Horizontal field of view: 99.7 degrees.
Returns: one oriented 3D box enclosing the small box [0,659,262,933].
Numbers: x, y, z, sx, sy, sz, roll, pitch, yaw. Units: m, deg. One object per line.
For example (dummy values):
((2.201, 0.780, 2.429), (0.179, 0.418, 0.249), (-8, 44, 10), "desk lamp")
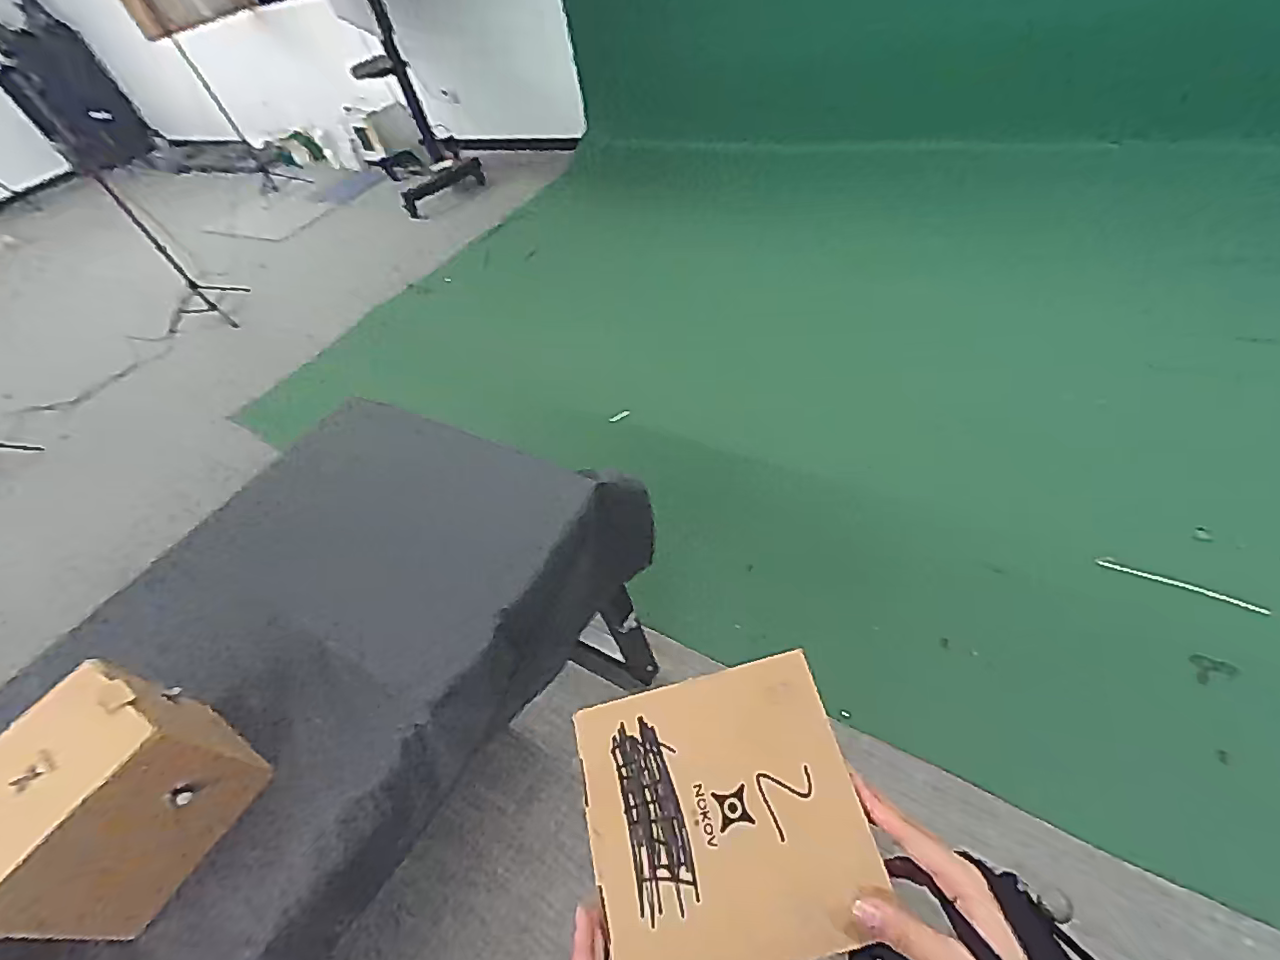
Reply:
((-0.546, 0.327, 0.568), (0.168, 0.176, 0.179), (17, 57, 28), "small box")
